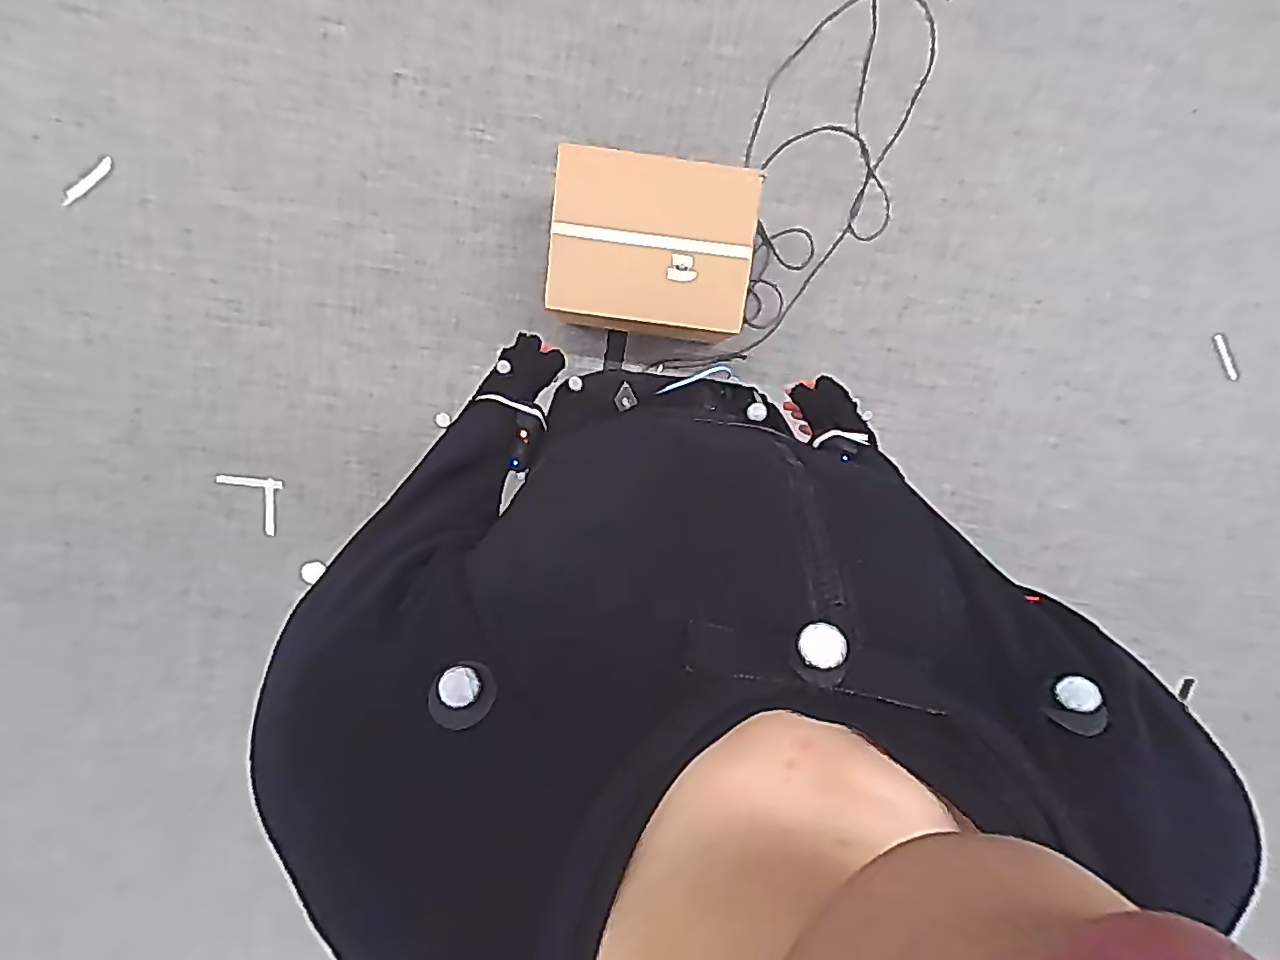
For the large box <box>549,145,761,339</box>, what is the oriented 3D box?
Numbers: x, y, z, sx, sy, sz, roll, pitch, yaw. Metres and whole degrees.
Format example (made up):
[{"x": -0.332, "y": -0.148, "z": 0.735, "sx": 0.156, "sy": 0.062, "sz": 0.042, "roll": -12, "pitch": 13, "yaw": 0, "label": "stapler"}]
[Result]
[{"x": 0.022, "y": -0.510, "z": 1.231, "sx": 0.408, "sy": 0.320, "sz": 0.320, "roll": 7, "pitch": 101, "yaw": -2, "label": "large box"}]
